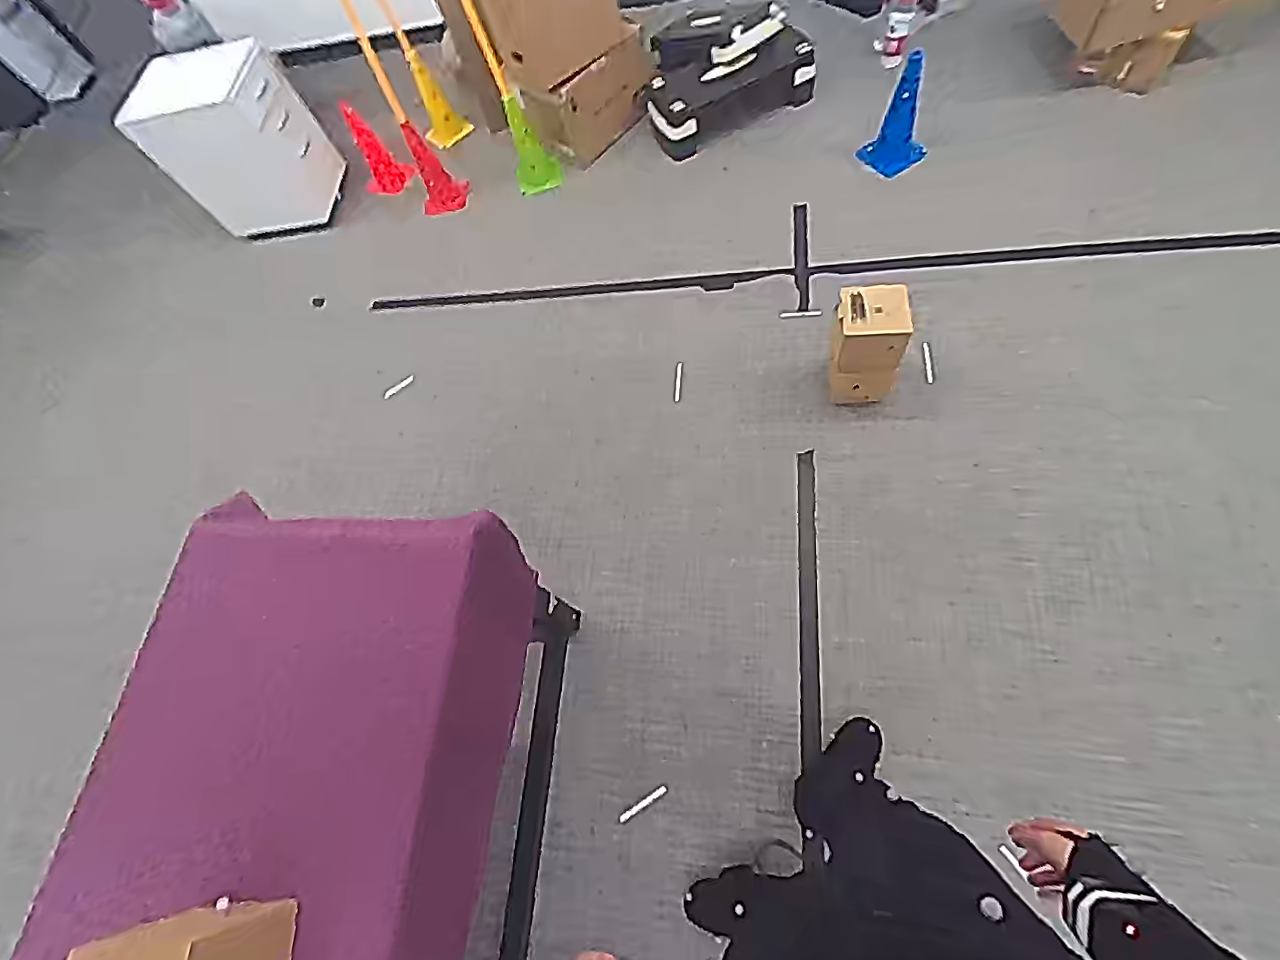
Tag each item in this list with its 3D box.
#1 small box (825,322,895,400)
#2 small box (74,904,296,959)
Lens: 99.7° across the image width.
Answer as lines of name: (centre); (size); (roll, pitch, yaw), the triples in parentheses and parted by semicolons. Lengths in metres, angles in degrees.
small box: (0.673, -0.360, 1.670); (0.168, 0.176, 0.179); (-3, 65, 10)
small box: (-0.560, 0.654, 0.659); (0.168, 0.176, 0.179); (-10, 64, 7)
